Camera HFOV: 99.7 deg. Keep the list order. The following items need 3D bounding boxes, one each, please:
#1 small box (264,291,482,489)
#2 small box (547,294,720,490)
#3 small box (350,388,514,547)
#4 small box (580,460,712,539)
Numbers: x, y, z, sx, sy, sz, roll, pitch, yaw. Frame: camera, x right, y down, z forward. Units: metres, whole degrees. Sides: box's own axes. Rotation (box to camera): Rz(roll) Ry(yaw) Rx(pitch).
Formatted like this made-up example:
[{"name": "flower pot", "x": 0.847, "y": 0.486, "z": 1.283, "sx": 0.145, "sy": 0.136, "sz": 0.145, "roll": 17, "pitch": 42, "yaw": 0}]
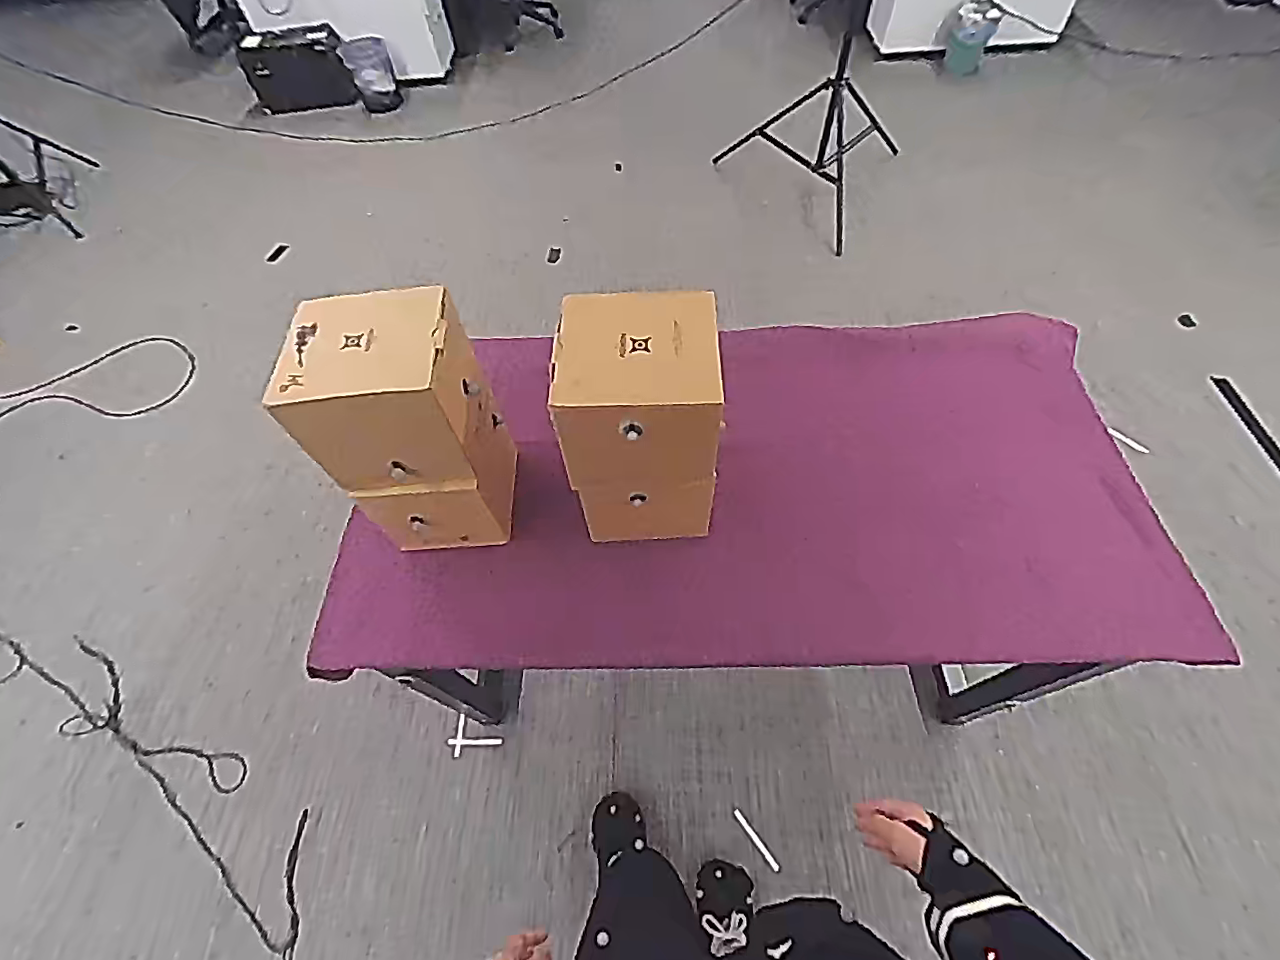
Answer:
[{"name": "small box", "x": -0.302, "y": -0.104, "z": 0.662, "sx": 0.179, "sy": 0.176, "sz": 0.168, "roll": -6, "pitch": 57, "yaw": -1}, {"name": "small box", "x": -0.003, "y": -0.098, "z": 0.642, "sx": 0.179, "sy": 0.176, "sz": 0.168, "roll": 0, "pitch": 59, "yaw": 1}, {"name": "small box", "x": -0.288, "y": -0.010, "z": 0.796, "sx": 0.168, "sy": 0.176, "sz": 0.179, "roll": -4, "pitch": 57, "yaw": 0}, {"name": "small box", "x": 0.006, "y": -0.023, "z": 0.786, "sx": 0.179, "sy": 0.176, "sz": 0.168, "roll": -3, "pitch": 58, "yaw": 1}]
